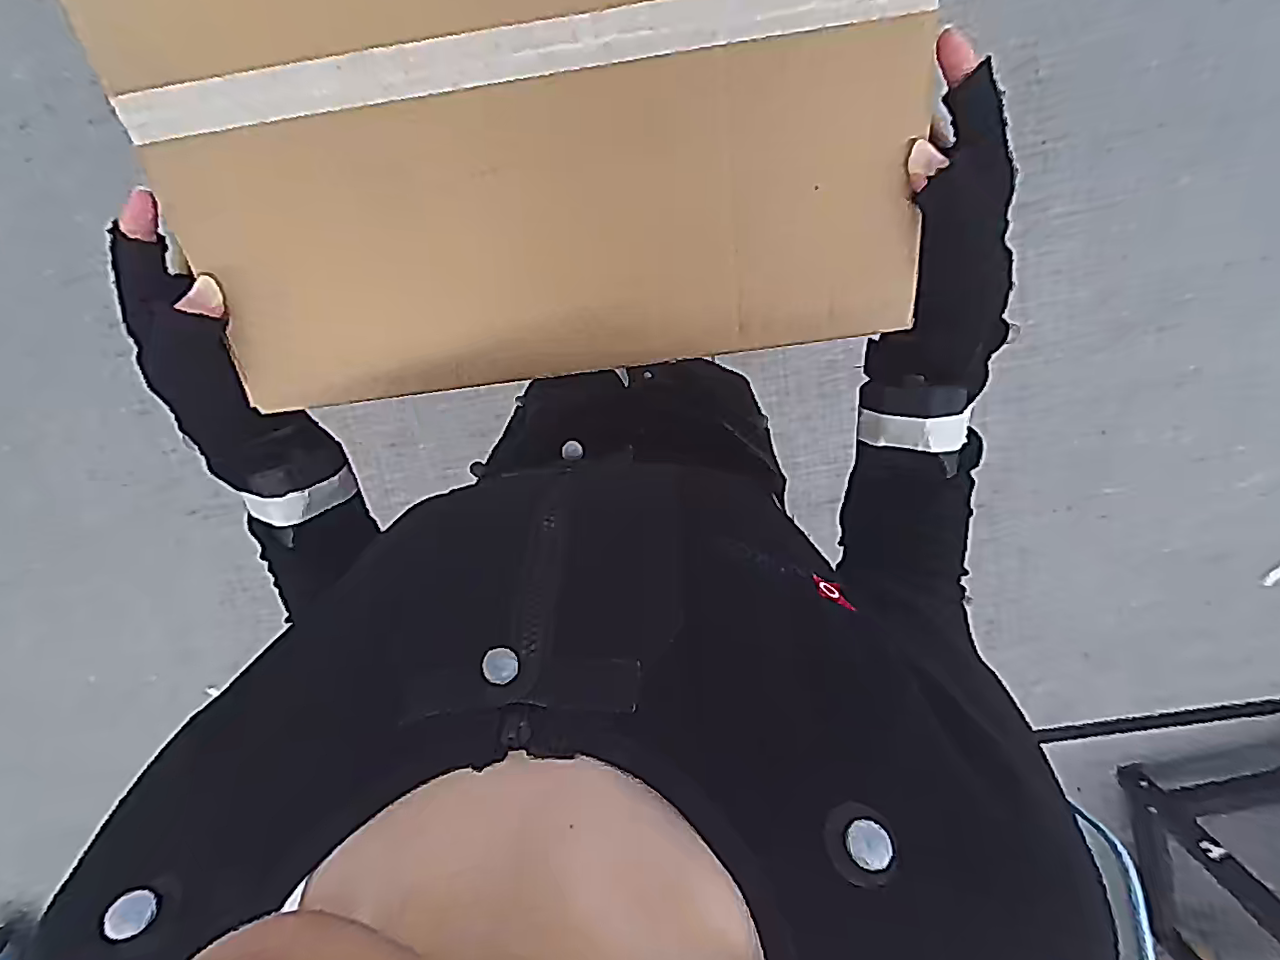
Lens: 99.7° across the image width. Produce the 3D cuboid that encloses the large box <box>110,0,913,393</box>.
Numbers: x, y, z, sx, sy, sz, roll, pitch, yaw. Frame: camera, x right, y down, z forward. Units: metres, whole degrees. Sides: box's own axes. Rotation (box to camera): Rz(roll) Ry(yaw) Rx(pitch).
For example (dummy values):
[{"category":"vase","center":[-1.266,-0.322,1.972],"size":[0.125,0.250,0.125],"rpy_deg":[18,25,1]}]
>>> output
[{"category":"large box","center":[-0.062,-0.280,0.411],"size":[0.408,0.320,0.320],"rpy_deg":[-7,115,3]}]
